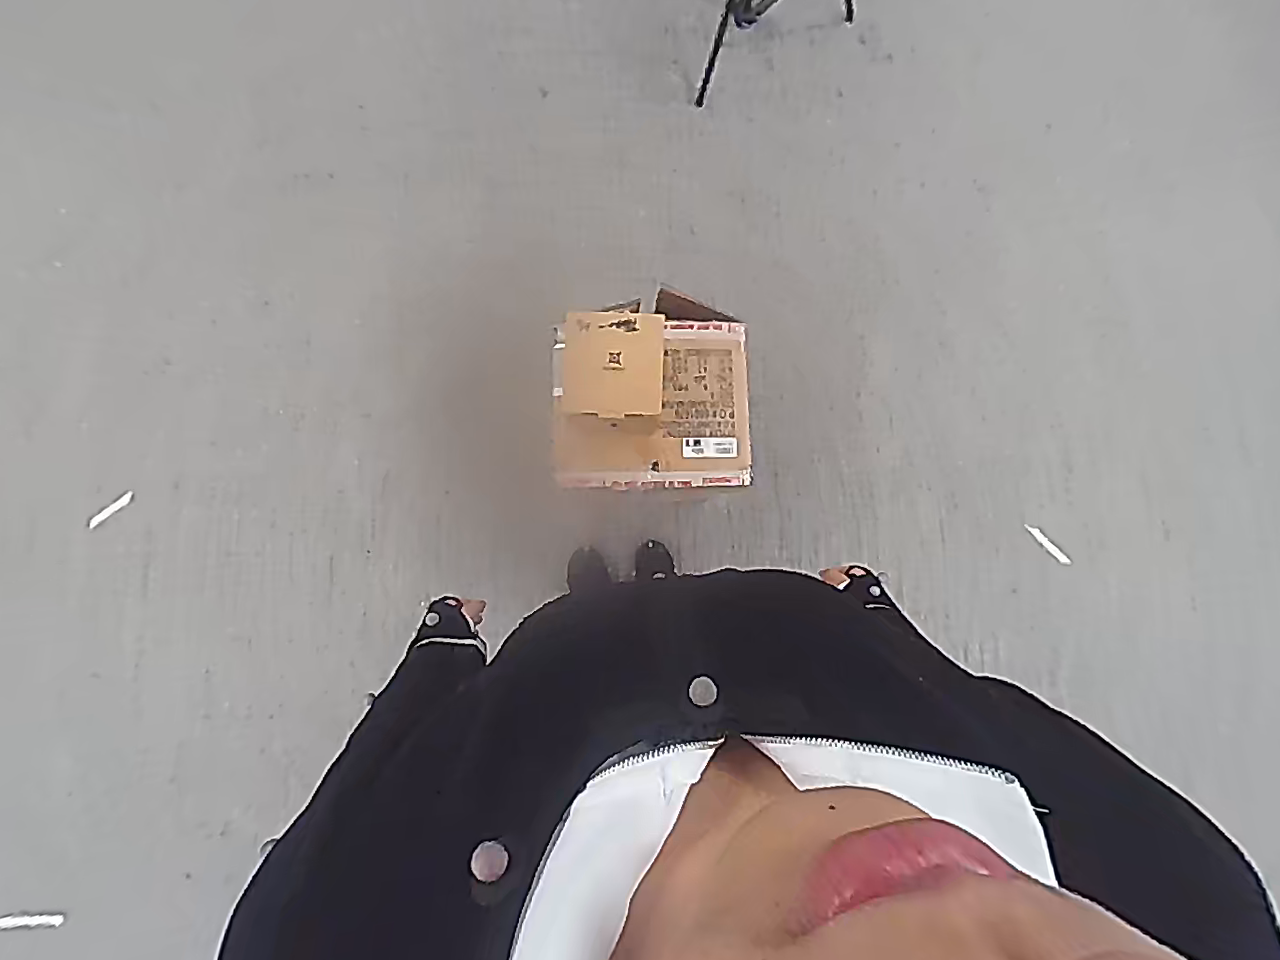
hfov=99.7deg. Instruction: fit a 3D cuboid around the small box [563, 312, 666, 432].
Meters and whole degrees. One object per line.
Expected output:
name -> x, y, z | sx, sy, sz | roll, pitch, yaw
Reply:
small box -> -0.042, -0.184, 0.968 | 0.168, 0.176, 0.179 | 2, 86, -1
